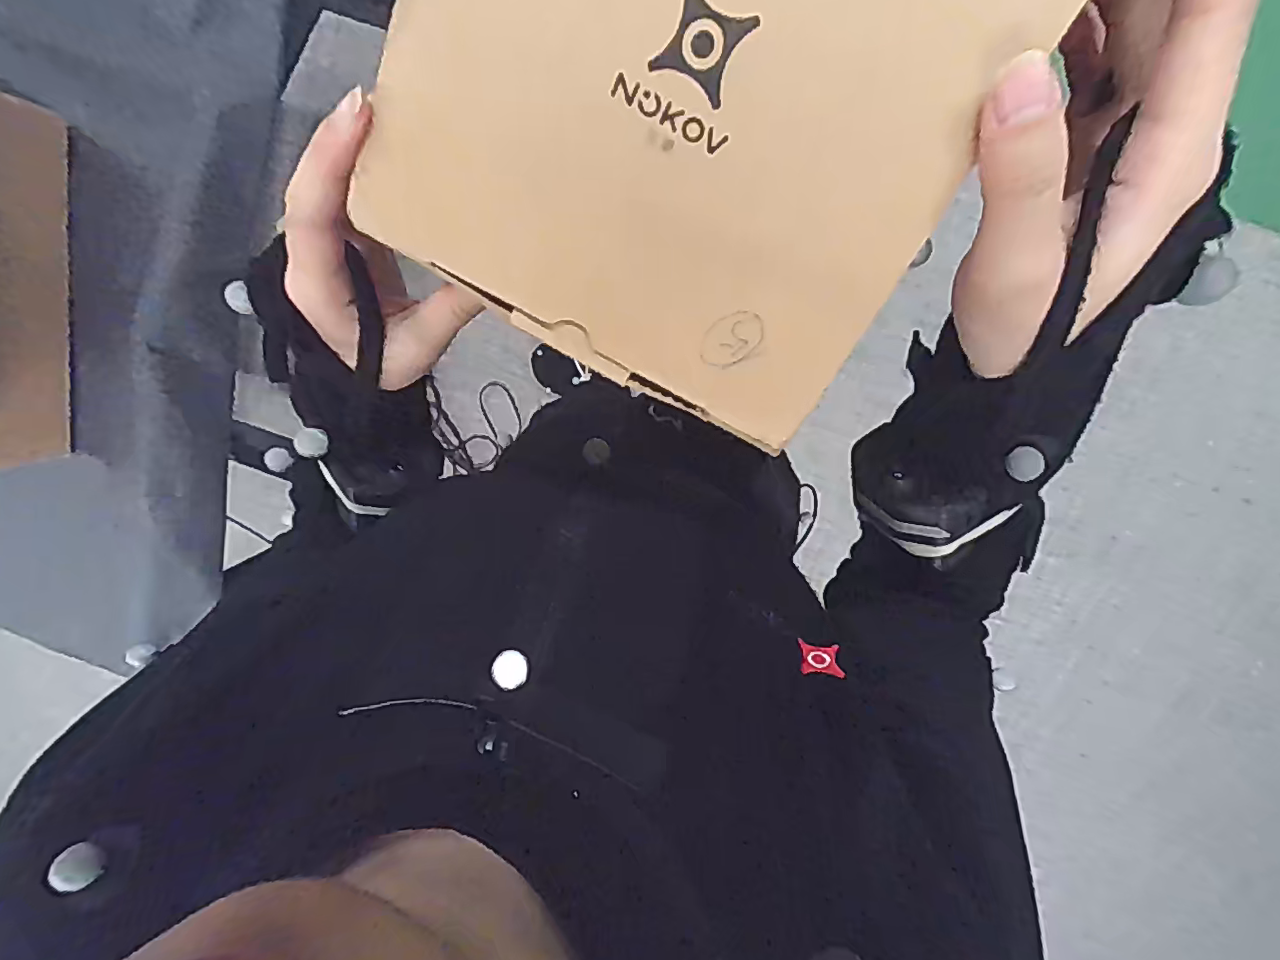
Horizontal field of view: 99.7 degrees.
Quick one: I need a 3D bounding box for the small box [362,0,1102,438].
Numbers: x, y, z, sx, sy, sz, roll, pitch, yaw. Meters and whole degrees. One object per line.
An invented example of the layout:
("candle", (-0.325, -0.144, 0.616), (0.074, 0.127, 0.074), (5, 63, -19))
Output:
("small box", (0.029, -0.148, 0.221), (0.168, 0.176, 0.179), (27, 110, -6))
